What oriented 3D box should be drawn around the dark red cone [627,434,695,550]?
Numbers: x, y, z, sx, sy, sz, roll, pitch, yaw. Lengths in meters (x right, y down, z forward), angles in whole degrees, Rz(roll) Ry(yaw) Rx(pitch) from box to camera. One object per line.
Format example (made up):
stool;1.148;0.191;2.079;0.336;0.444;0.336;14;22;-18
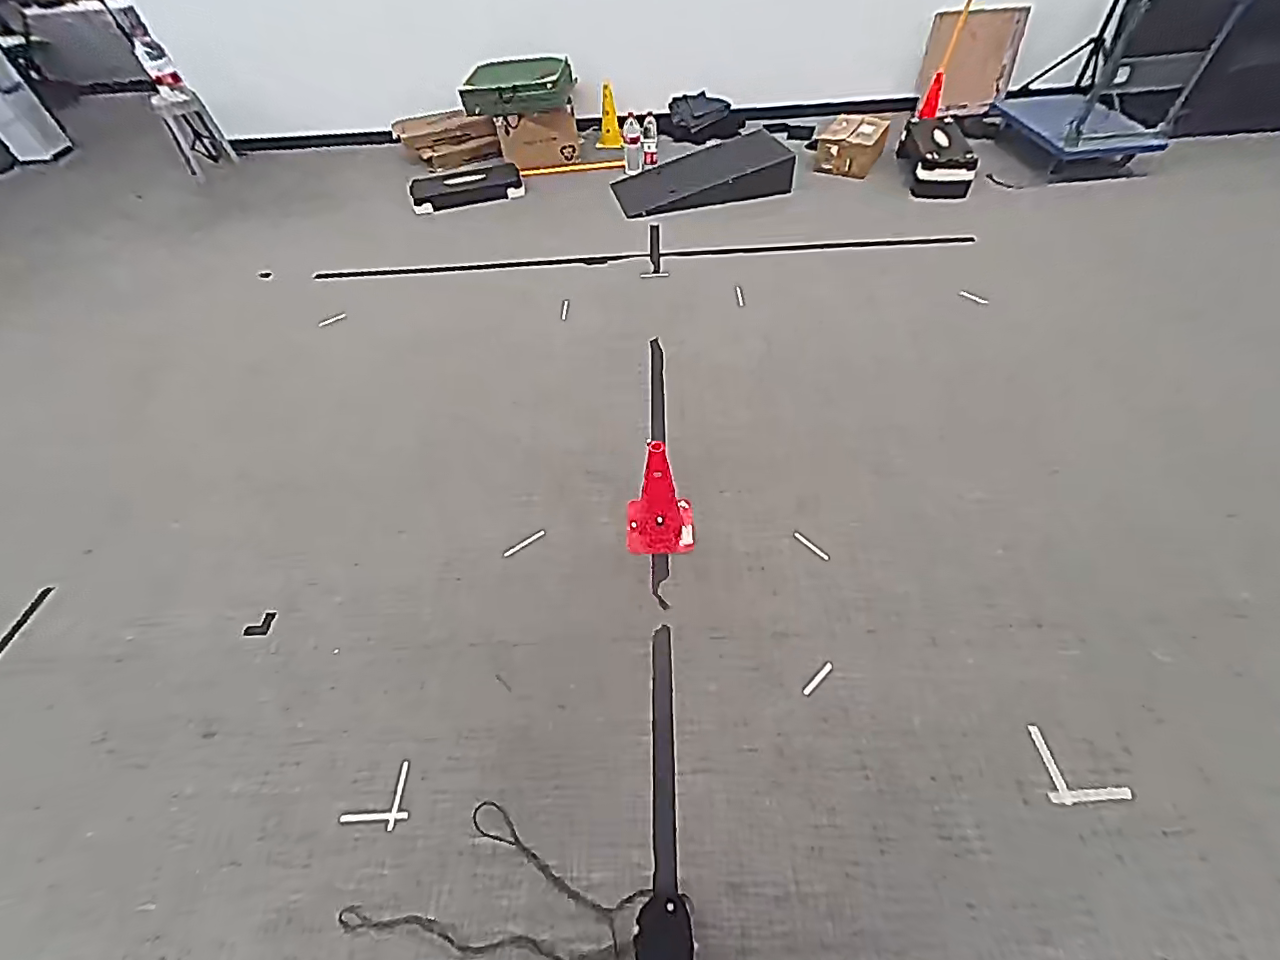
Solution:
dark red cone;0.050;0.018;1.510;0.201;0.394;0.202;-3;50;3
